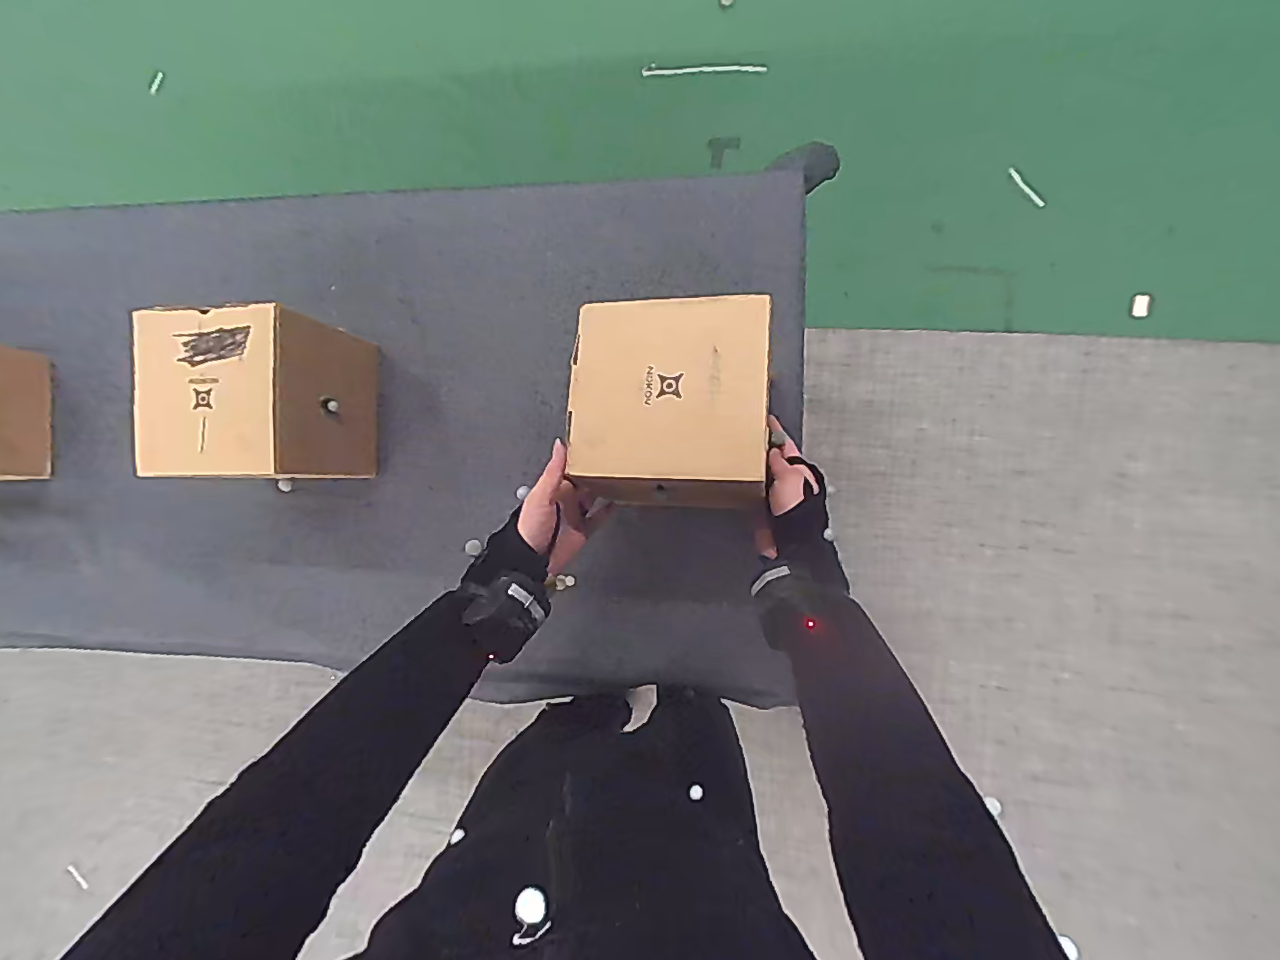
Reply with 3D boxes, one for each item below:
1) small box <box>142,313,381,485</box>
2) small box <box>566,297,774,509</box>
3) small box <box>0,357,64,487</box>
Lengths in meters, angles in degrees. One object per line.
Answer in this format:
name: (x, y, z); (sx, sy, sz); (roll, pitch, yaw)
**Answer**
small box: (-0.430, -0.083, 0.638); (0.168, 0.176, 0.179); (0, 90, 9)
small box: (0.042, -0.063, 0.545); (0.179, 0.176, 0.168); (1, 80, 14)
small box: (-0.924, -0.076, 0.714); (0.168, 0.176, 0.179); (-3, 89, 8)
